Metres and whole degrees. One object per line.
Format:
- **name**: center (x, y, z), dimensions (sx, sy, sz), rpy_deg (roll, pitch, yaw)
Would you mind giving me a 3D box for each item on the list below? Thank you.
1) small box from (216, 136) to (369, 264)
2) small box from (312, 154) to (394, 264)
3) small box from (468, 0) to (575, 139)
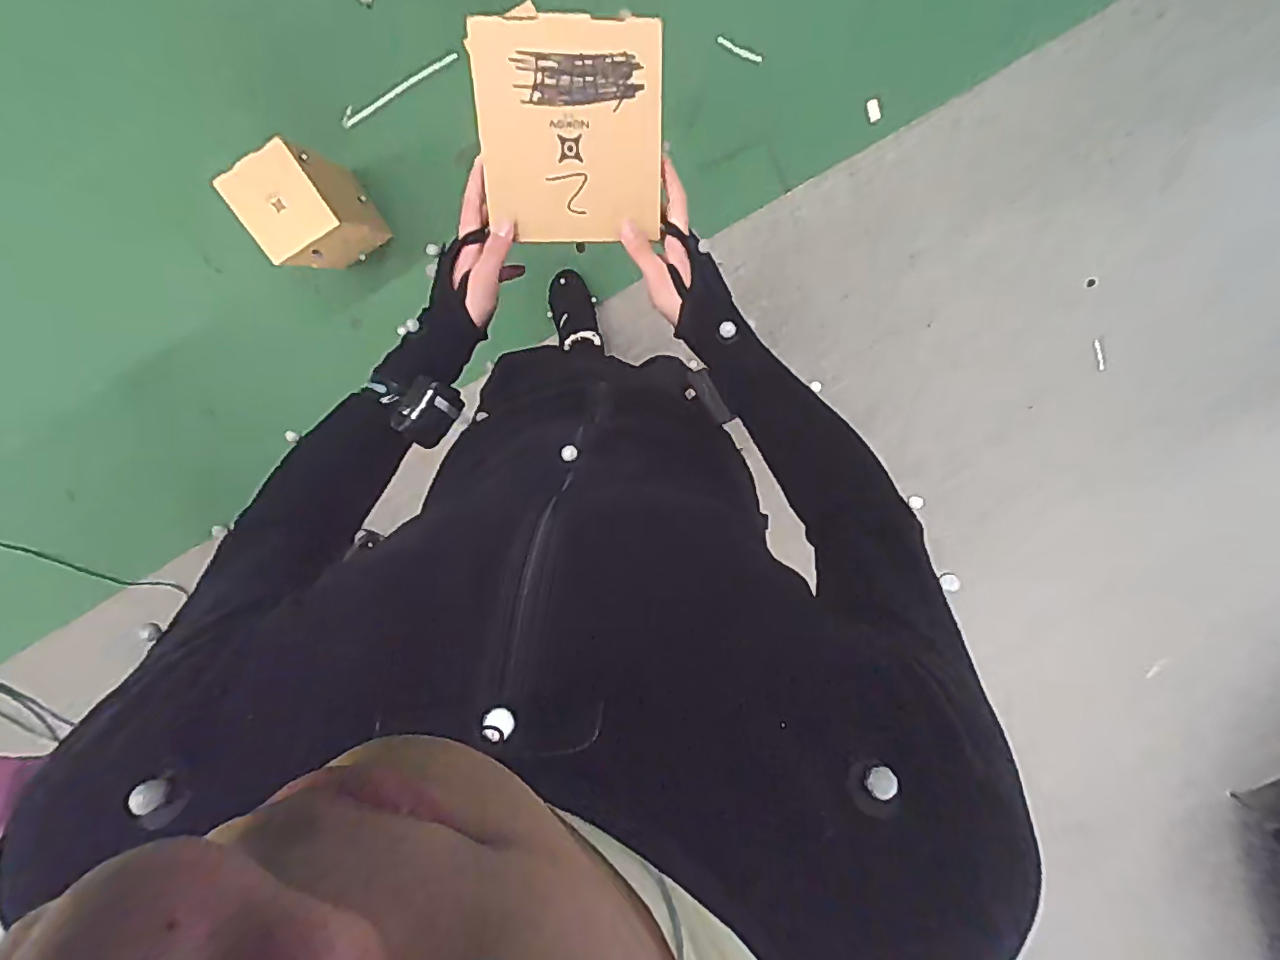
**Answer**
- **small box**: center (-0.711, -0.574, 1.132), dimensions (0.168, 0.176, 0.179), rpy_deg (-29, 110, 7)
- **small box**: center (-0.726, -0.631, 1.283), dimensions (0.168, 0.176, 0.179), rpy_deg (-28, 111, 7)
- **small box**: center (-0.259, -0.911, 1.218), dimensions (0.168, 0.176, 0.179), rpy_deg (-27, 111, 5)
